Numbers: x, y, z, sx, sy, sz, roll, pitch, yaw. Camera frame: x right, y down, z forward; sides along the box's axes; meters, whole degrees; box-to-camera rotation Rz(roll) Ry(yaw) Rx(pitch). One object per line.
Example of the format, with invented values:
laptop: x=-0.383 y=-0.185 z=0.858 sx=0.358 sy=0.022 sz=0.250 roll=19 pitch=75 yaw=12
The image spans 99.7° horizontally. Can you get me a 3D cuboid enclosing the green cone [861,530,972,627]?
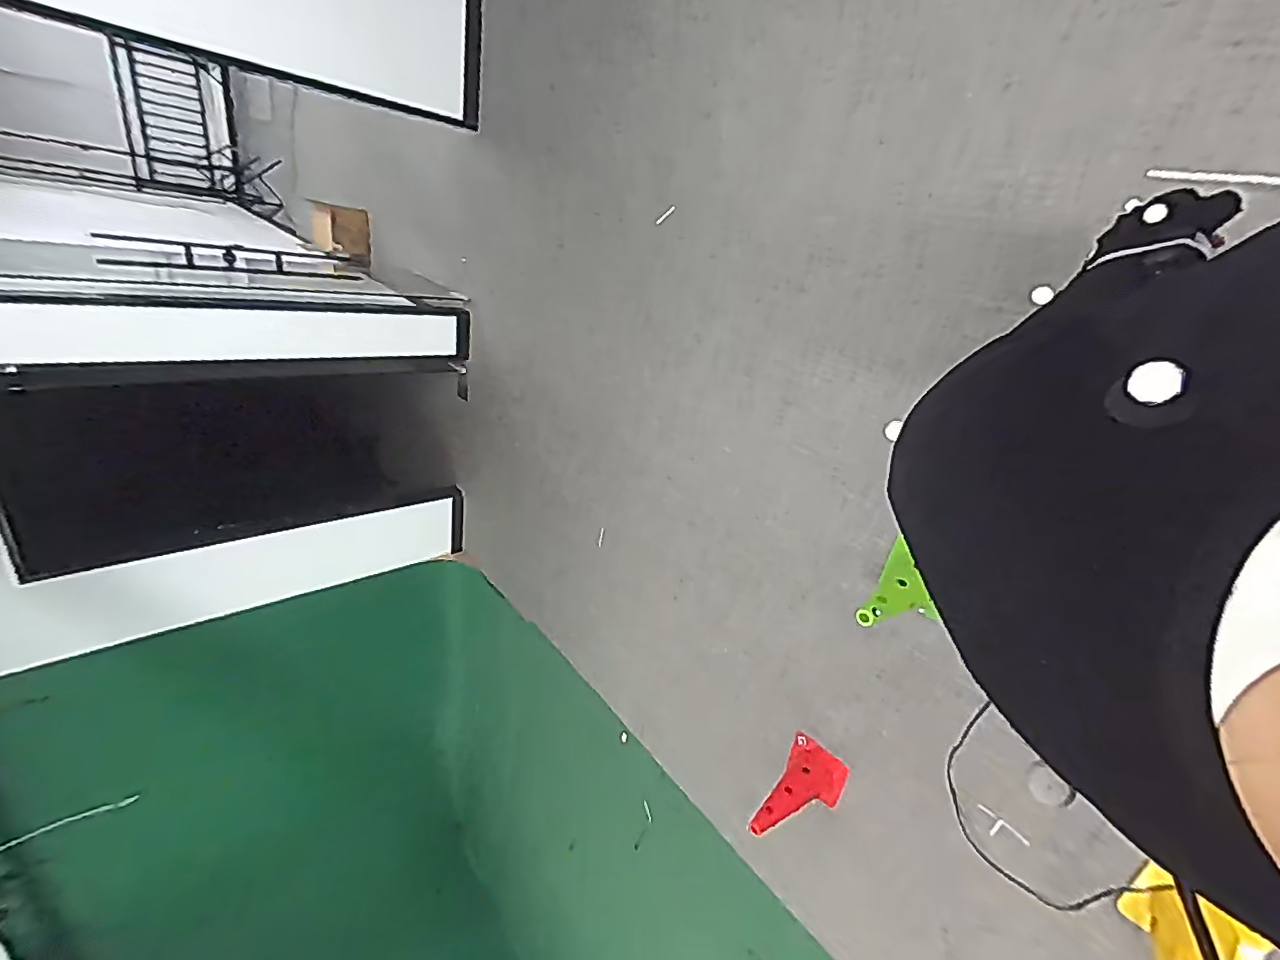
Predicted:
green cone: x=0.657 y=0.292 z=1.378 sx=0.202 sy=0.368 sz=0.200 roll=31 pitch=122 yaw=38

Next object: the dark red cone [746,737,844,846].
dark red cone: x=0.473 y=1.034 z=1.743 sx=0.202 sy=0.394 sz=0.201 roll=27 pitch=120 yaw=41
